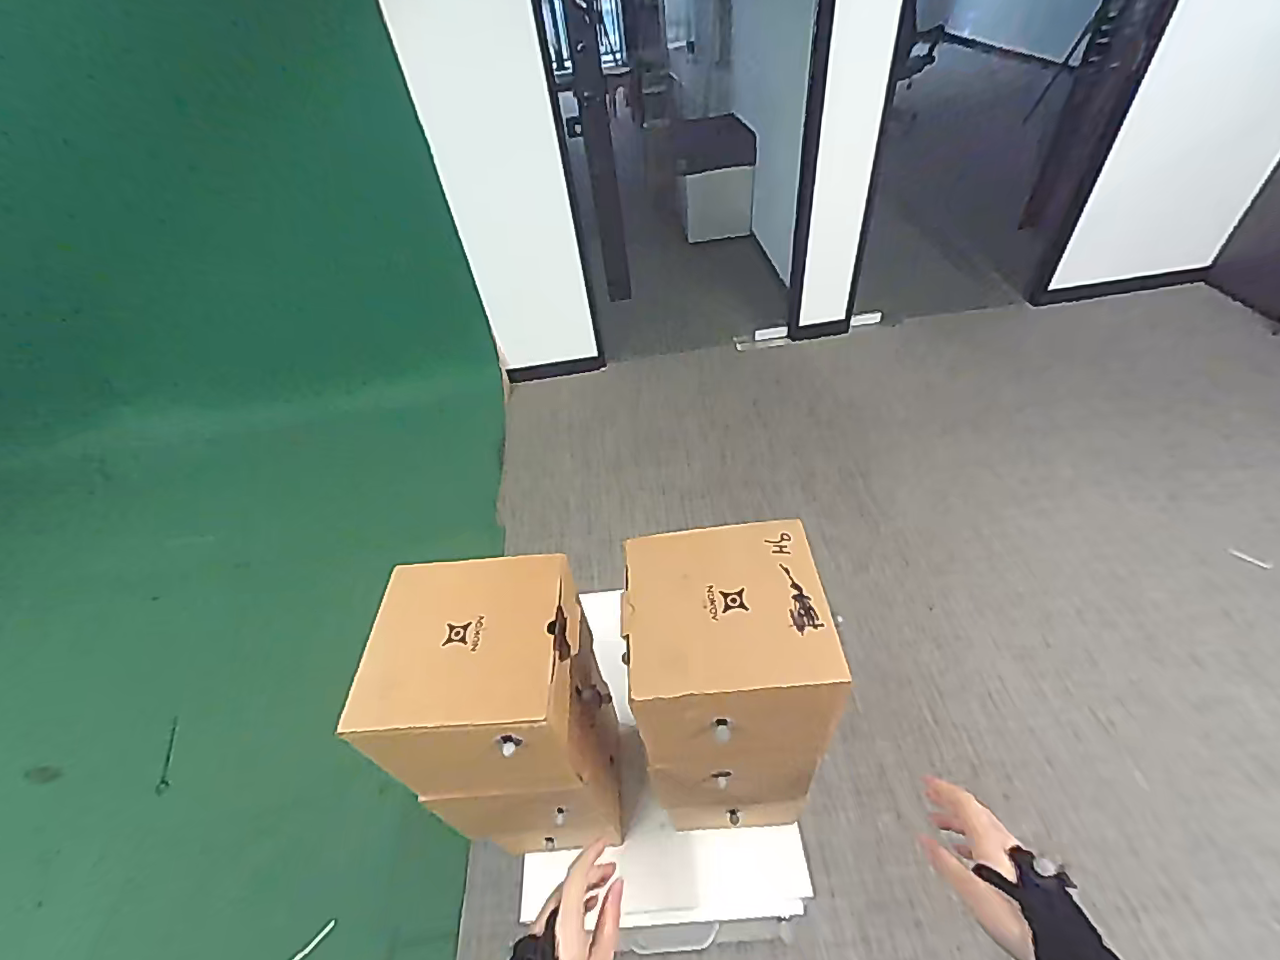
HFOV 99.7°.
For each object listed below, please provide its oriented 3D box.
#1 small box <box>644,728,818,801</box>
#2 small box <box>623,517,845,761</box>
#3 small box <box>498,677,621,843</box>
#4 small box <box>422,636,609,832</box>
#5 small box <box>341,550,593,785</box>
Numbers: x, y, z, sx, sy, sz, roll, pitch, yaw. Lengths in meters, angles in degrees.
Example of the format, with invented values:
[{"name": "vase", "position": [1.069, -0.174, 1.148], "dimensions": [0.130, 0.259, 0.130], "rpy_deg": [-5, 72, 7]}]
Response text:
[{"name": "small box", "position": [0.101, 0.273, 0.650], "dimensions": [0.179, 0.176, 0.168], "rpy_deg": [-6, 46, 4]}, {"name": "small box", "position": [0.084, 0.160, 0.532], "dimensions": [0.179, 0.176, 0.168], "rpy_deg": [-8, 46, 5]}, {"name": "small box", "position": [-0.118, 0.408, 0.781], "dimensions": [0.168, 0.176, 0.179], "rpy_deg": [-5, 46, 1]}, {"name": "small box", "position": [-0.131, 0.308, 0.653], "dimensions": [0.179, 0.176, 0.168], "rpy_deg": [-7, 45, 2]}, {"name": "small box", "position": [-0.150, 0.190, 0.541], "dimensions": [0.179, 0.176, 0.168], "rpy_deg": [-4, 45, 2]}]
